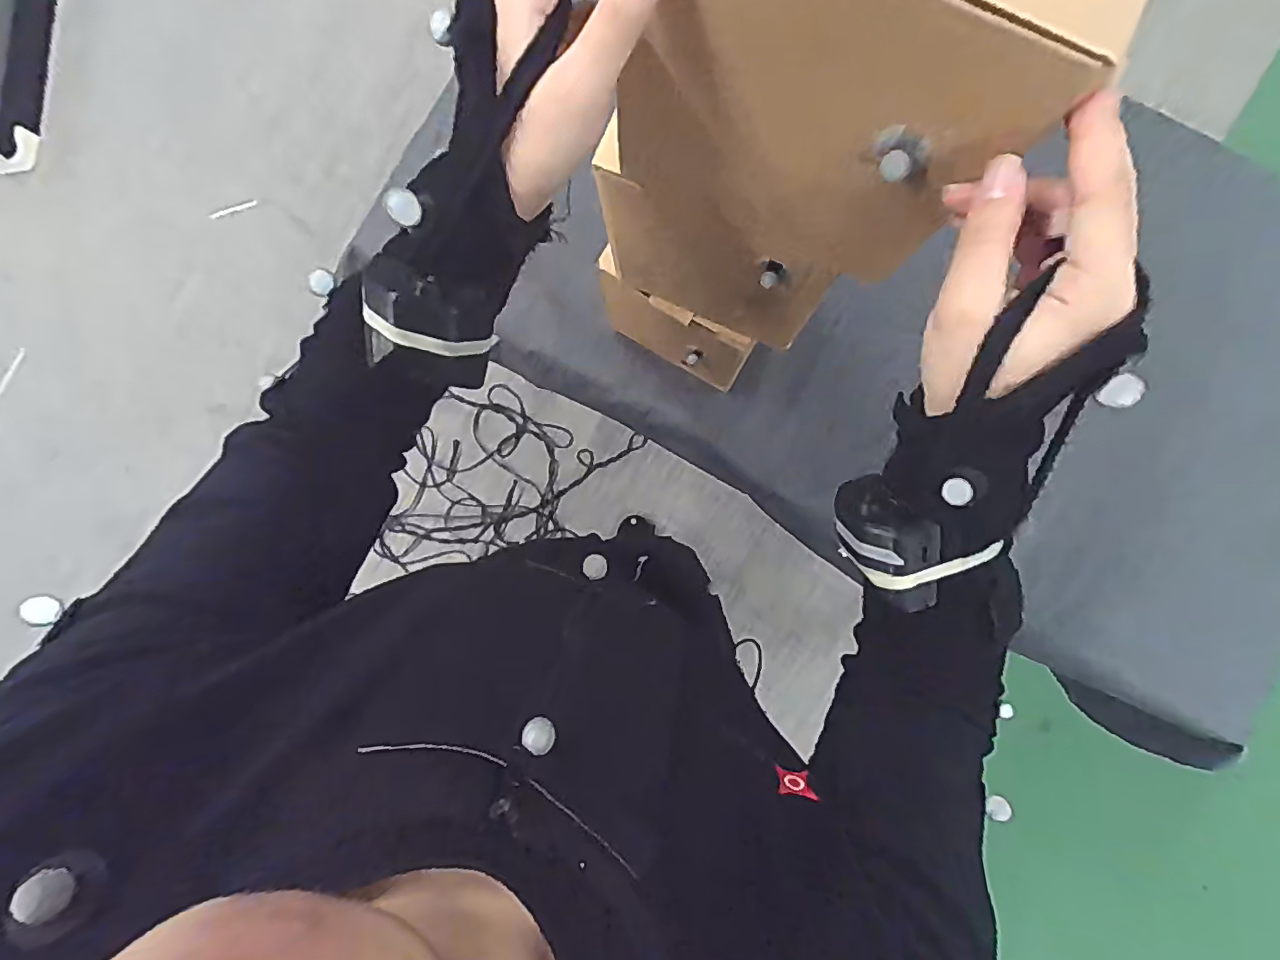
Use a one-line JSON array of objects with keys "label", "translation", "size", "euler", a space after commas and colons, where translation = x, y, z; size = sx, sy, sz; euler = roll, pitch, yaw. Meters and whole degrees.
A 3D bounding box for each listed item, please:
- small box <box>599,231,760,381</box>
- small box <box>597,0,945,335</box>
[{"label": "small box", "translation": [0.076, -0.231, 0.585], "size": [0.168, 0.176, 0.179], "euler": [31, 87, 3]}, {"label": "small box", "translation": [0.085, -0.236, 0.422], "size": [0.179, 0.176, 0.168], "euler": [24, 87, 3]}]
